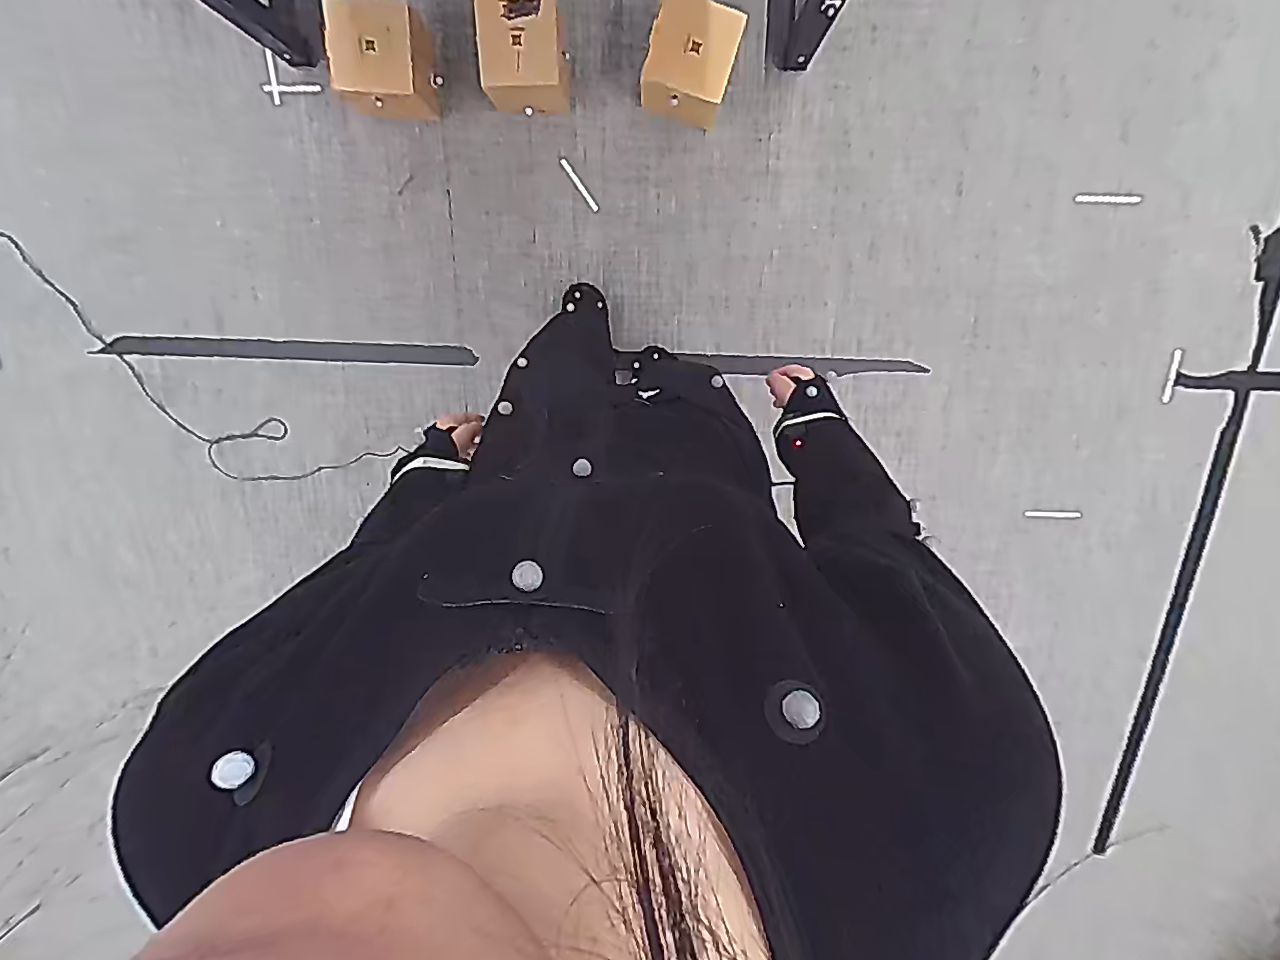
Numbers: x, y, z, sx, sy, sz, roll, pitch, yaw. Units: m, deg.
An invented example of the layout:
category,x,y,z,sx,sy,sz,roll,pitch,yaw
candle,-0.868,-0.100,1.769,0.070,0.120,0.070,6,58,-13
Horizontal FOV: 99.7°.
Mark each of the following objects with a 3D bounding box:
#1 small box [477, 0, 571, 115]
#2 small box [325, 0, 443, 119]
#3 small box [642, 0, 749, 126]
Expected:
category,x,y,z,sx,sy,sz,roll,pitch,yaw
small box,-0.242,-0.920,1.166,0.168,0.176,0.179,1,107,1
small box,-0.548,-0.910,1.177,0.179,0.176,0.168,3,107,-1
small box,0.114,-0.898,1.167,0.179,0.176,0.168,18,106,-3
